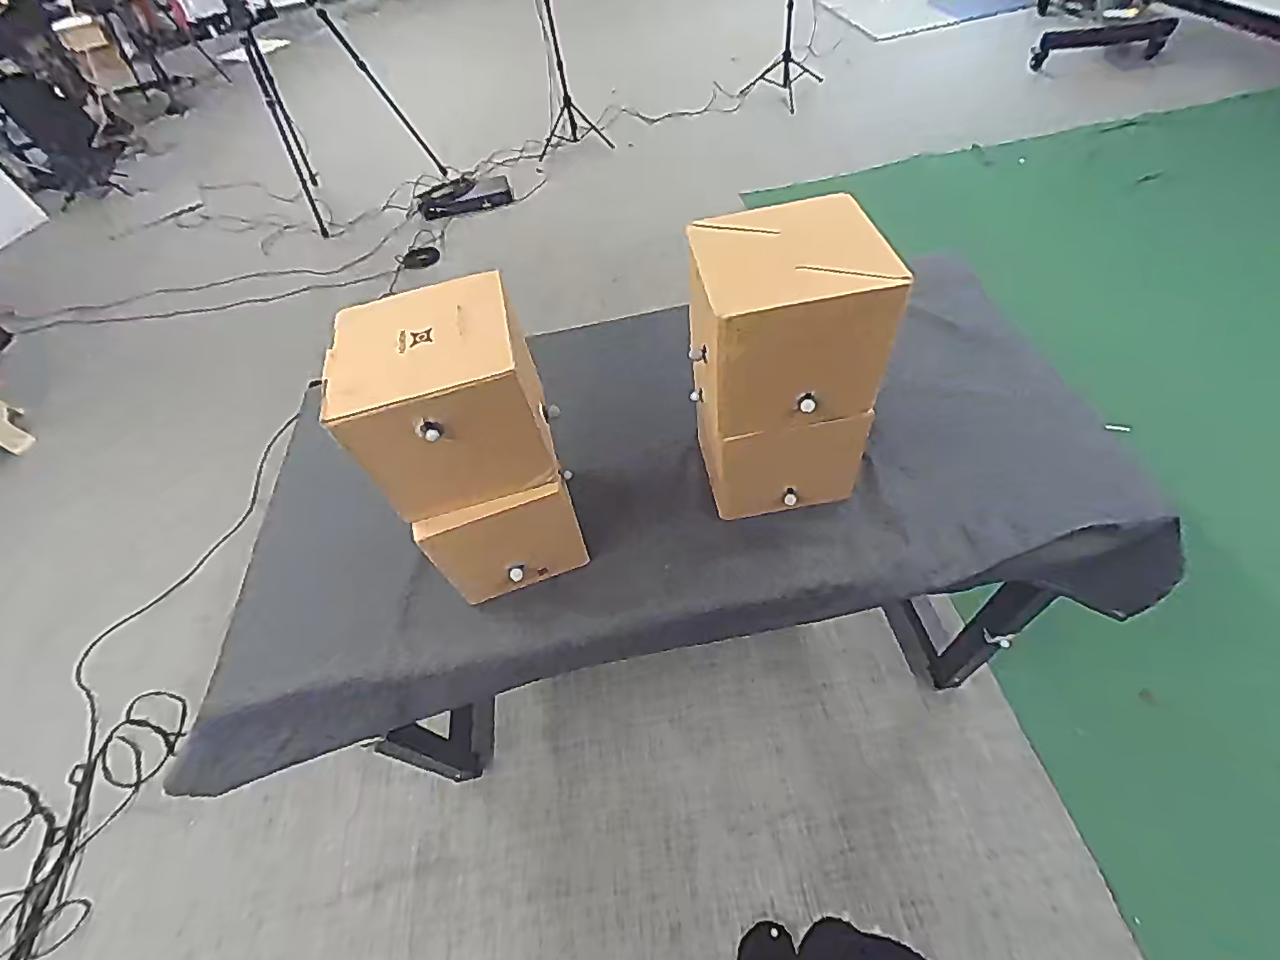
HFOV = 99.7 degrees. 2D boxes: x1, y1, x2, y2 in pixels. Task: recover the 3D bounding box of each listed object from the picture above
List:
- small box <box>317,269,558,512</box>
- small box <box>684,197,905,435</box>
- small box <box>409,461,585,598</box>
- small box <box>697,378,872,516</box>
[{"bbox_3d":[-0.200,-0.088,0.573,0.179,0.176,0.168,-15,54,-3],"label":"small box"},{"bbox_3d":[0.146,-0.174,0.574,0.179,0.176,0.168,-10,53,2],"label":"small box"},{"bbox_3d":[-0.181,0.021,0.693,0.168,0.176,0.179,-19,53,-5],"label":"small box"},{"bbox_3d":[0.171,-0.073,0.706,0.179,0.176,0.168,-10,53,1],"label":"small box"}]
